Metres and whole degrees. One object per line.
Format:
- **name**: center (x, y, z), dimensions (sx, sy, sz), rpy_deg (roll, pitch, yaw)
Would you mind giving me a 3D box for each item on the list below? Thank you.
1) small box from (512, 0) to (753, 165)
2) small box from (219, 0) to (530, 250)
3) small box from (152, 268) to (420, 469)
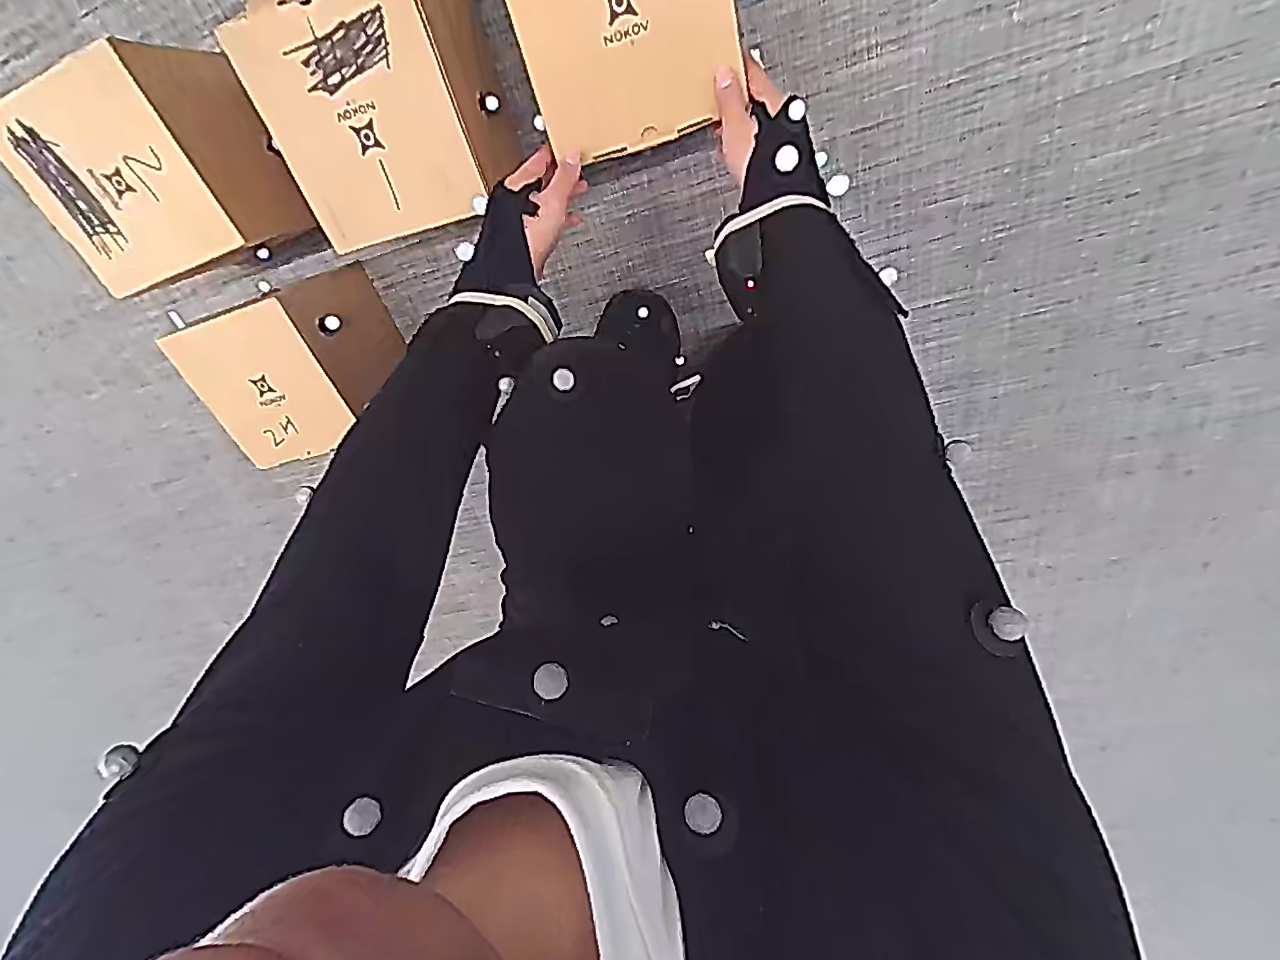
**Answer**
- **small box**: center (-0.007, -0.394, 0.462), dimensions (0.168, 0.176, 0.179), rpy_deg (-12, 123, 12)
- **small box**: center (-0.222, -0.342, 0.511), dimensions (0.168, 0.176, 0.179), rpy_deg (-10, 124, 11)
- **small box**: center (-0.407, -0.143, 0.658), dimensions (0.168, 0.176, 0.179), rpy_deg (-12, 123, 13)
